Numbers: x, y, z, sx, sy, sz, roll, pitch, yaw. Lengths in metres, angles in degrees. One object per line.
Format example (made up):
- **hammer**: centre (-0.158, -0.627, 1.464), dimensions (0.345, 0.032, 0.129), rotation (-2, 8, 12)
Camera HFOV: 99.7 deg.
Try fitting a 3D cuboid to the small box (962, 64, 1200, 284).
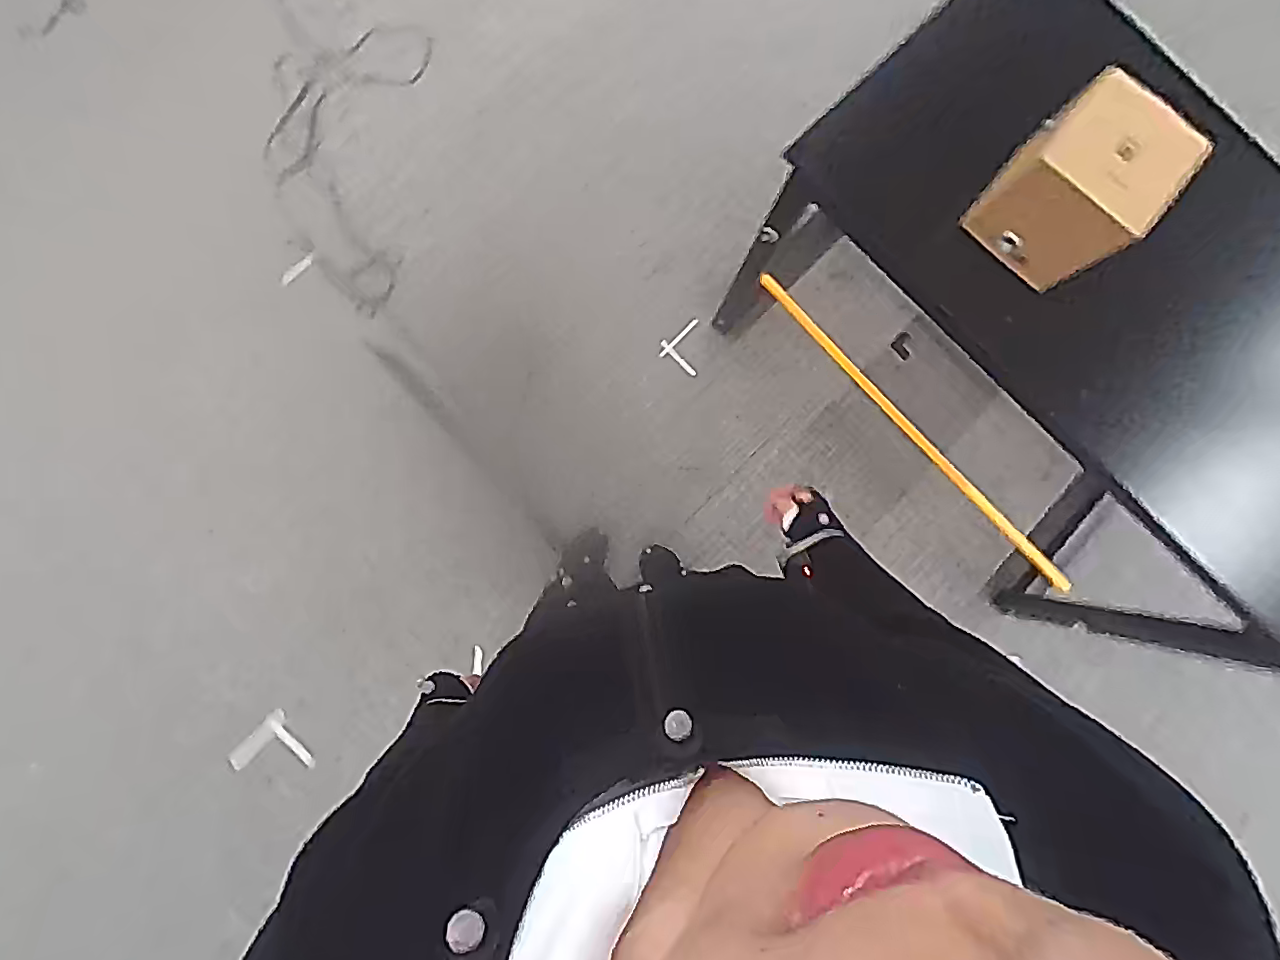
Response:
- **small box**: centre (0.617, -0.426, 0.782), dimensions (0.168, 0.176, 0.179), rotation (39, 85, 1)
